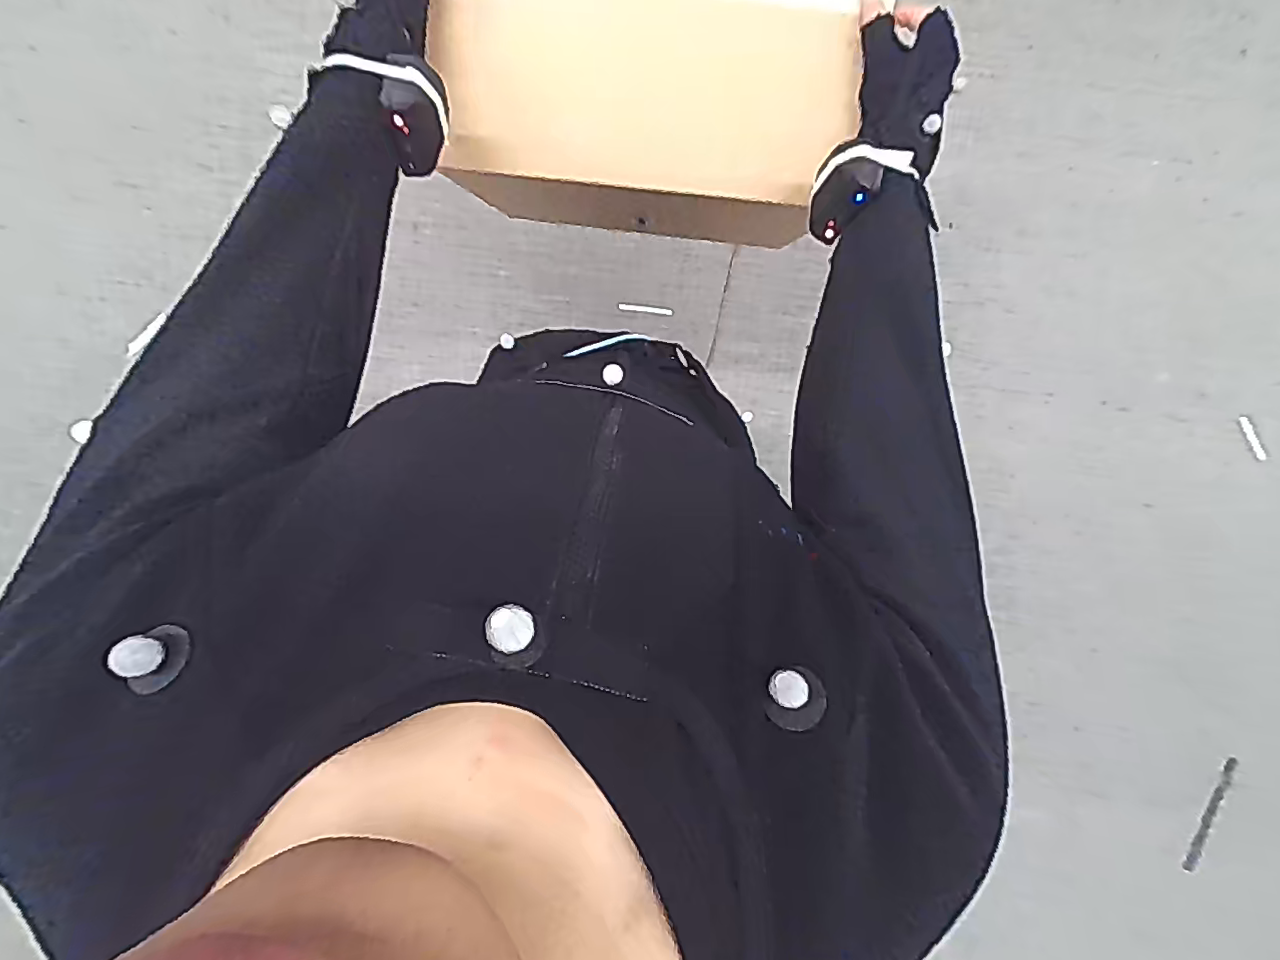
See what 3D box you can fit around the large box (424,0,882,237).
[{"bbox_3d":[0.019,-0.471,0.606,0.408,0.320,0.320,7,106,1],"label":"large box"}]
